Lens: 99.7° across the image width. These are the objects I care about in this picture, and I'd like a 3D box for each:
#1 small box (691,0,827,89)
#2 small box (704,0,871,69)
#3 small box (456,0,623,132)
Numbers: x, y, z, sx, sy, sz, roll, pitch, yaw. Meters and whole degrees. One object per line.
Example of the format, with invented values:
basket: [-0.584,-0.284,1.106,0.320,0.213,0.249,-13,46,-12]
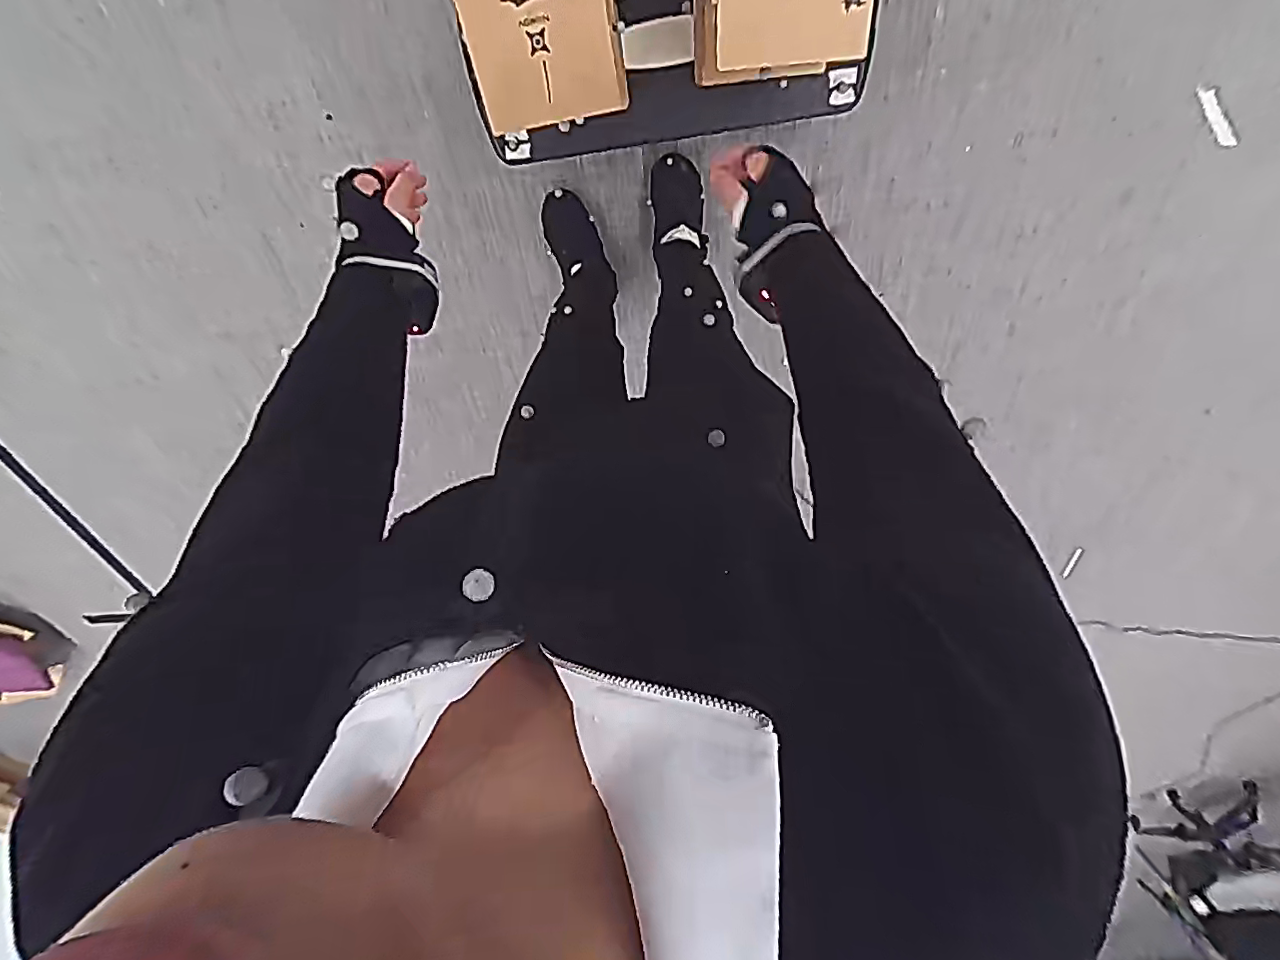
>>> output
small box: [0.166,-0.677,0.777,0.179,0.176,0.168,-6,127,4]
small box: [0.166,-0.593,0.637,0.179,0.176,0.168,-2,128,4]
small box: [-0.115,-0.551,0.666,0.168,0.176,0.179,-7,128,6]
